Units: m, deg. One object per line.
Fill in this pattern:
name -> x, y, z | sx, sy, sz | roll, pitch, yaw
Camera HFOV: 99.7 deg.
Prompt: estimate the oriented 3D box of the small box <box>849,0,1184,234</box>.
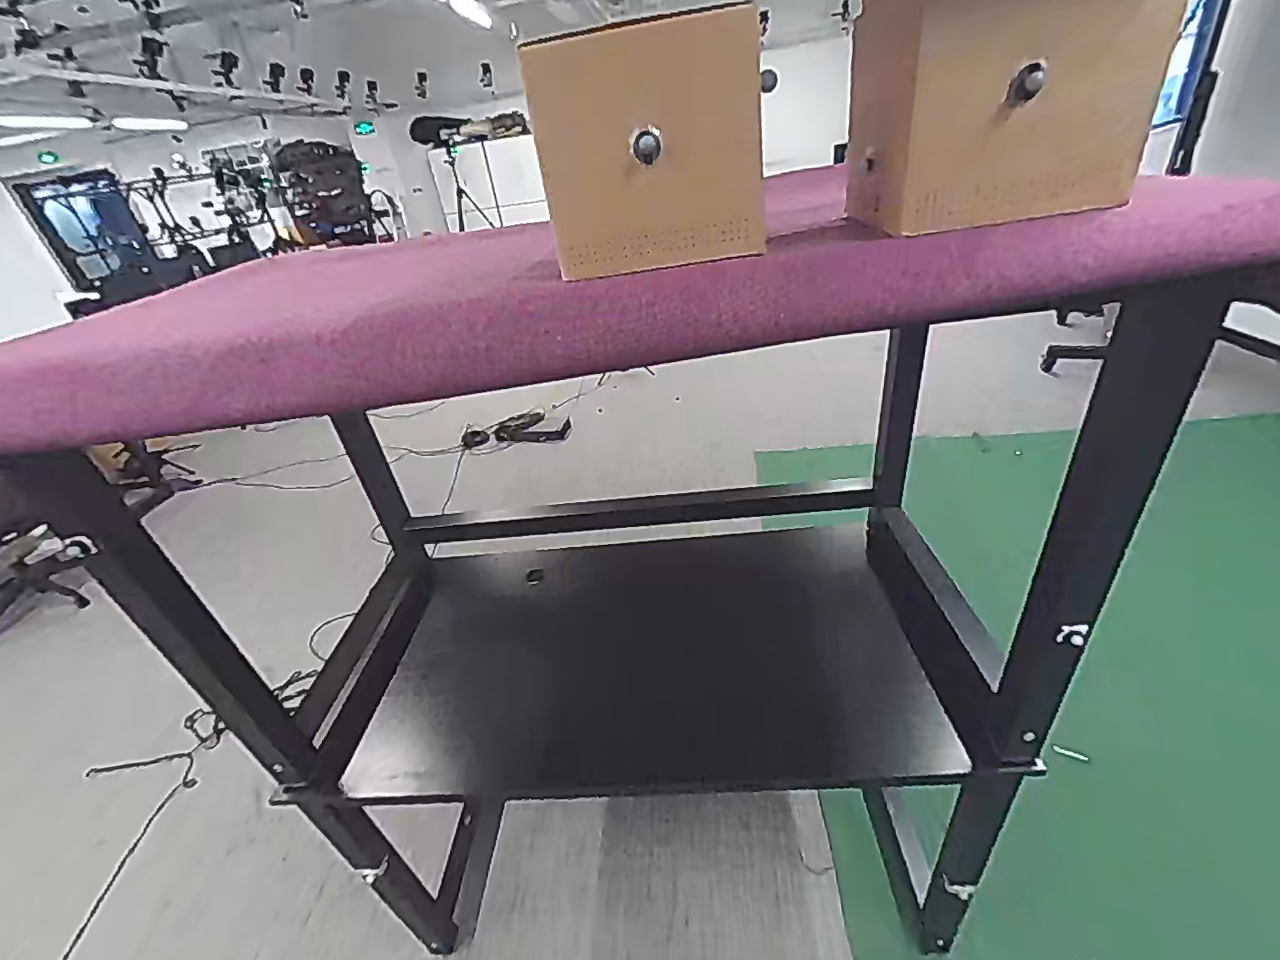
small box -> 0.288, -0.319, 0.453 | 0.179, 0.176, 0.168 | -6, 32, 8
